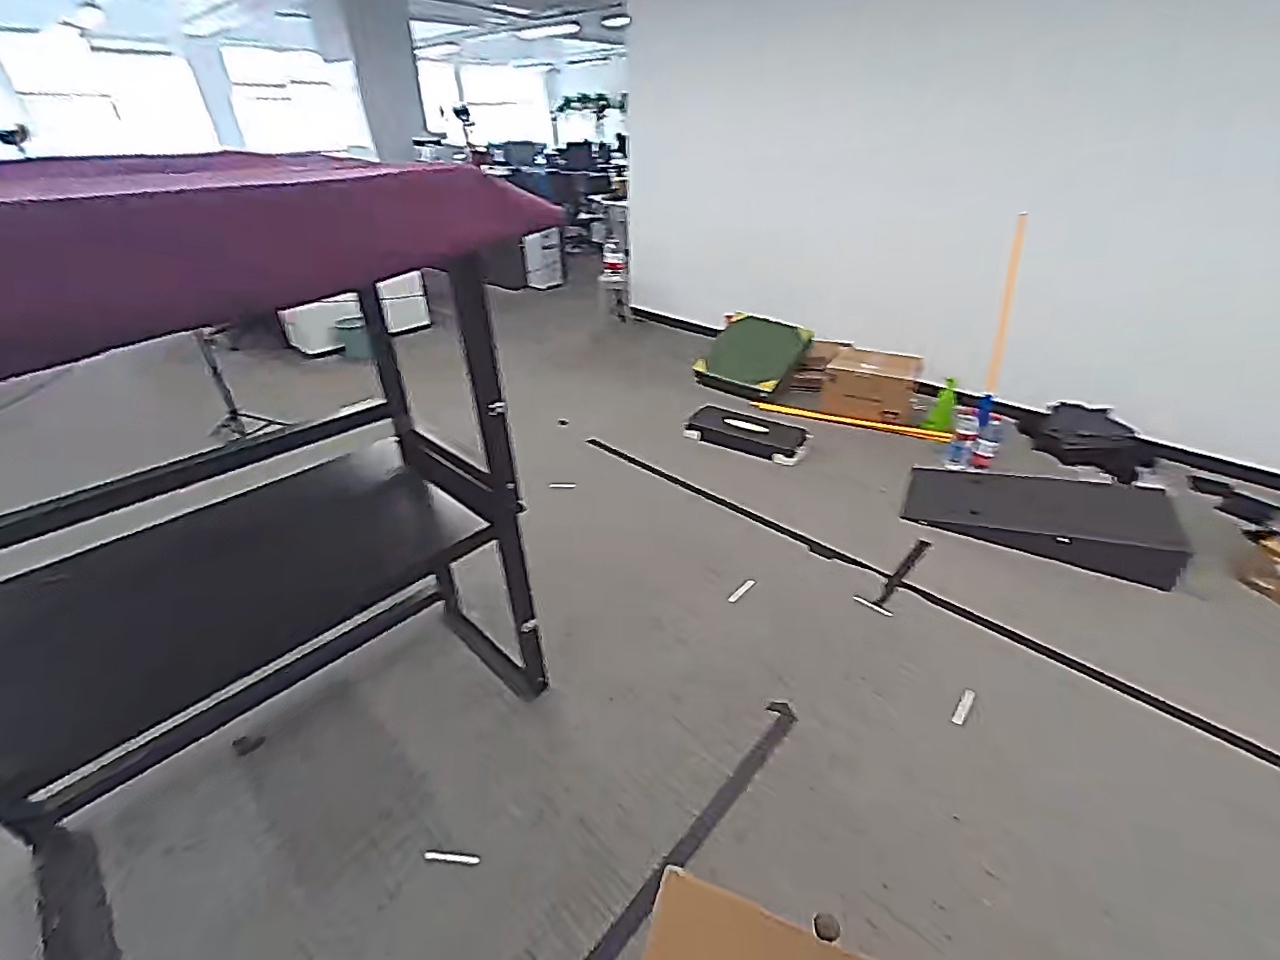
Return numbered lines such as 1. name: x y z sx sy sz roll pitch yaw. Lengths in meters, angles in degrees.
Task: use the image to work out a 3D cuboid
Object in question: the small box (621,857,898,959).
1. small box: 0.064 0.336 0.302 0.179 0.176 0.168 16 57 12
